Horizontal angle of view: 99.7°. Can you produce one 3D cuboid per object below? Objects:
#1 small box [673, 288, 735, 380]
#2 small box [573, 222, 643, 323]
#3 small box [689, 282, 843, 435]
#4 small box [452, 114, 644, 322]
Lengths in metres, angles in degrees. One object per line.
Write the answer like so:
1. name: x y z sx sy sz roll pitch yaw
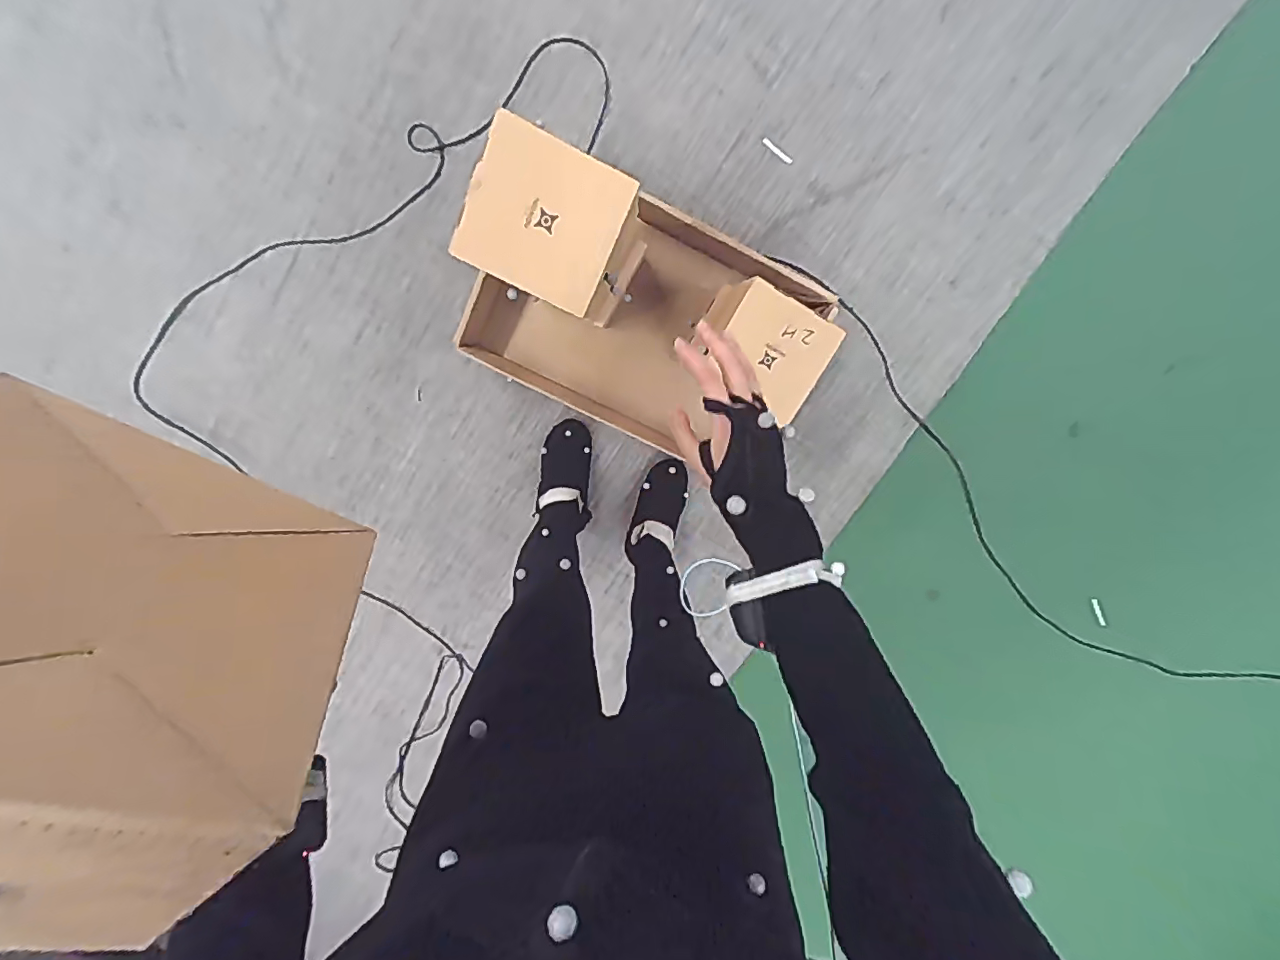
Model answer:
1. small box: 0.179 -0.249 1.058 0.179 0.176 0.168 30 102 -8
2. small box: -0.111 -0.362 0.854 0.179 0.176 0.168 30 103 -9
3. small box: 0.195 -0.200 0.901 0.168 0.176 0.179 30 101 -9
4. small box: -0.107 -0.320 0.698 0.179 0.176 0.168 25 104 -7
